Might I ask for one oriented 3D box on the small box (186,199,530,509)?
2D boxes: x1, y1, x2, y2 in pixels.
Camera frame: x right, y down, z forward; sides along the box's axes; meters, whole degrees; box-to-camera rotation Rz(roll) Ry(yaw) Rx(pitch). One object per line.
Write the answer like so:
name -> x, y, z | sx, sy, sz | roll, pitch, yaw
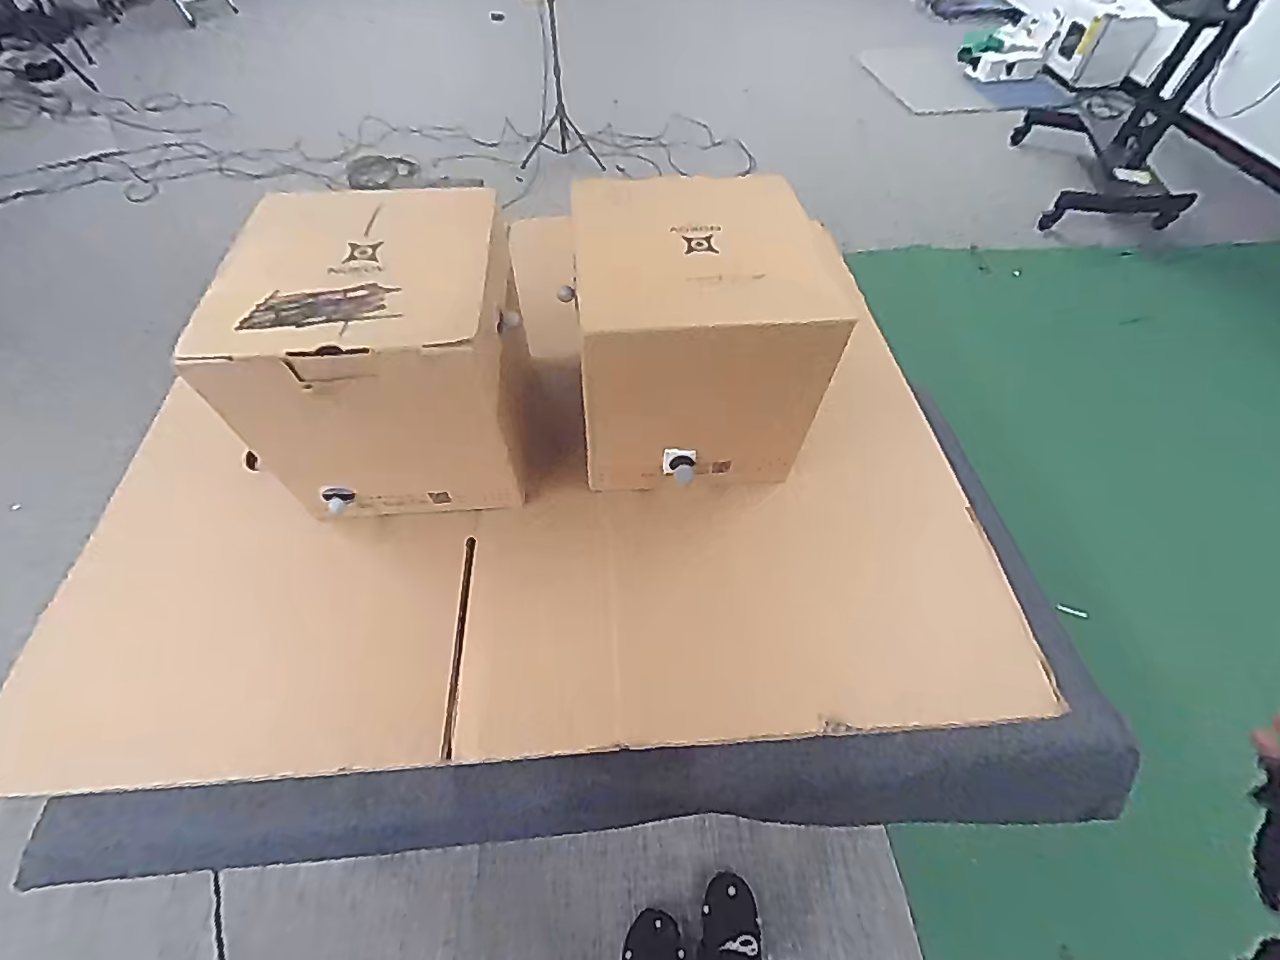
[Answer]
small box -> -0.182, -0.088, 0.419 | 0.168, 0.176, 0.179 | -4, 54, -3
